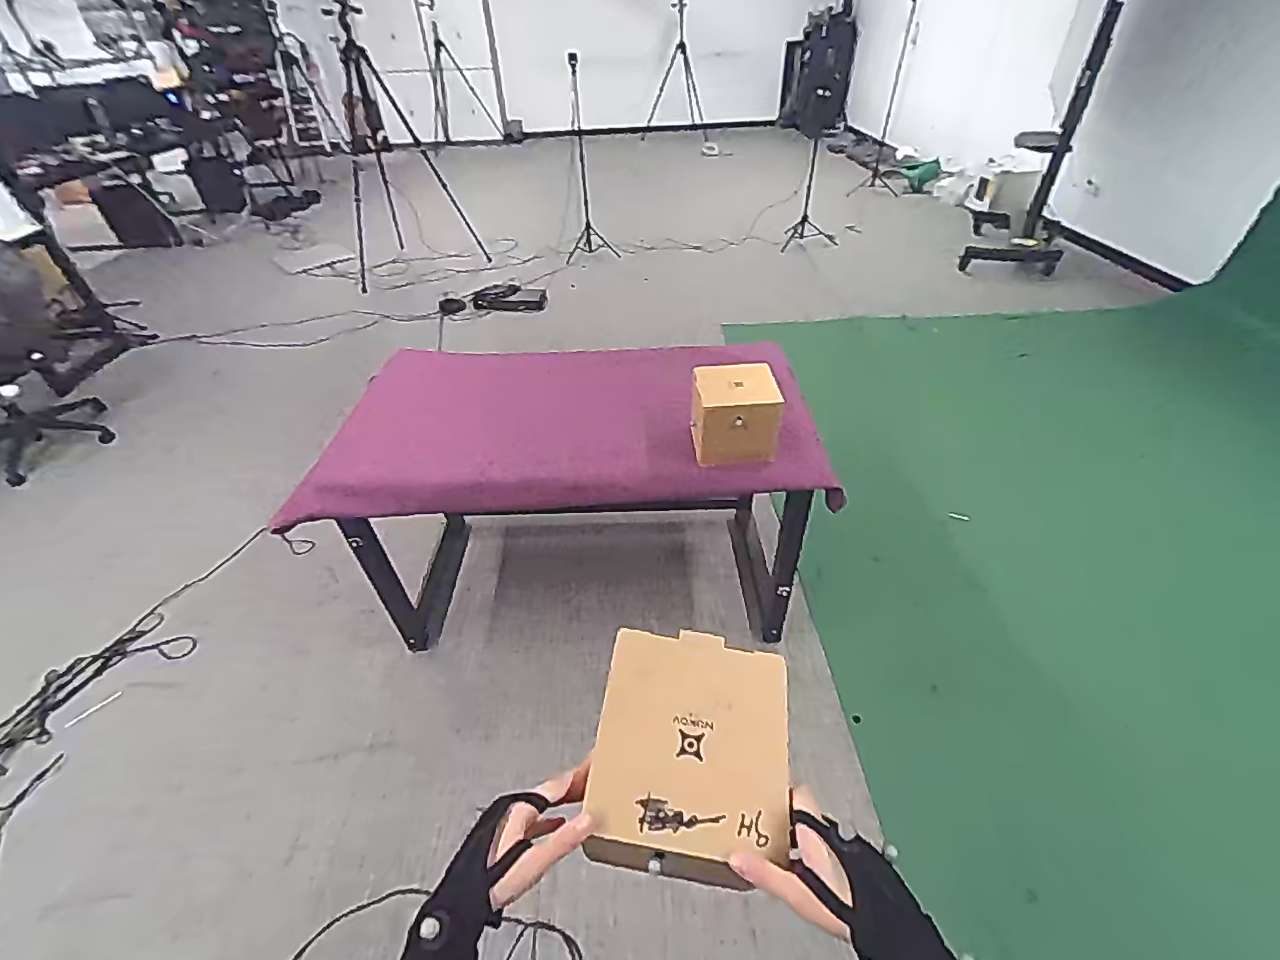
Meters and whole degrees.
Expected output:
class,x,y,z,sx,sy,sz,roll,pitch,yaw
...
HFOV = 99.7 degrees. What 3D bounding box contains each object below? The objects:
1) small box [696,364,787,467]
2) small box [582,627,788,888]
class,x,y,z,sx,sy,sz,roll,pitch,yaw
small box,0.226,-0.148,1.250,0.179,0.176,0.168,-5,42,1
small box,0.045,0.274,0.533,0.168,0.176,0.179,7,49,6
